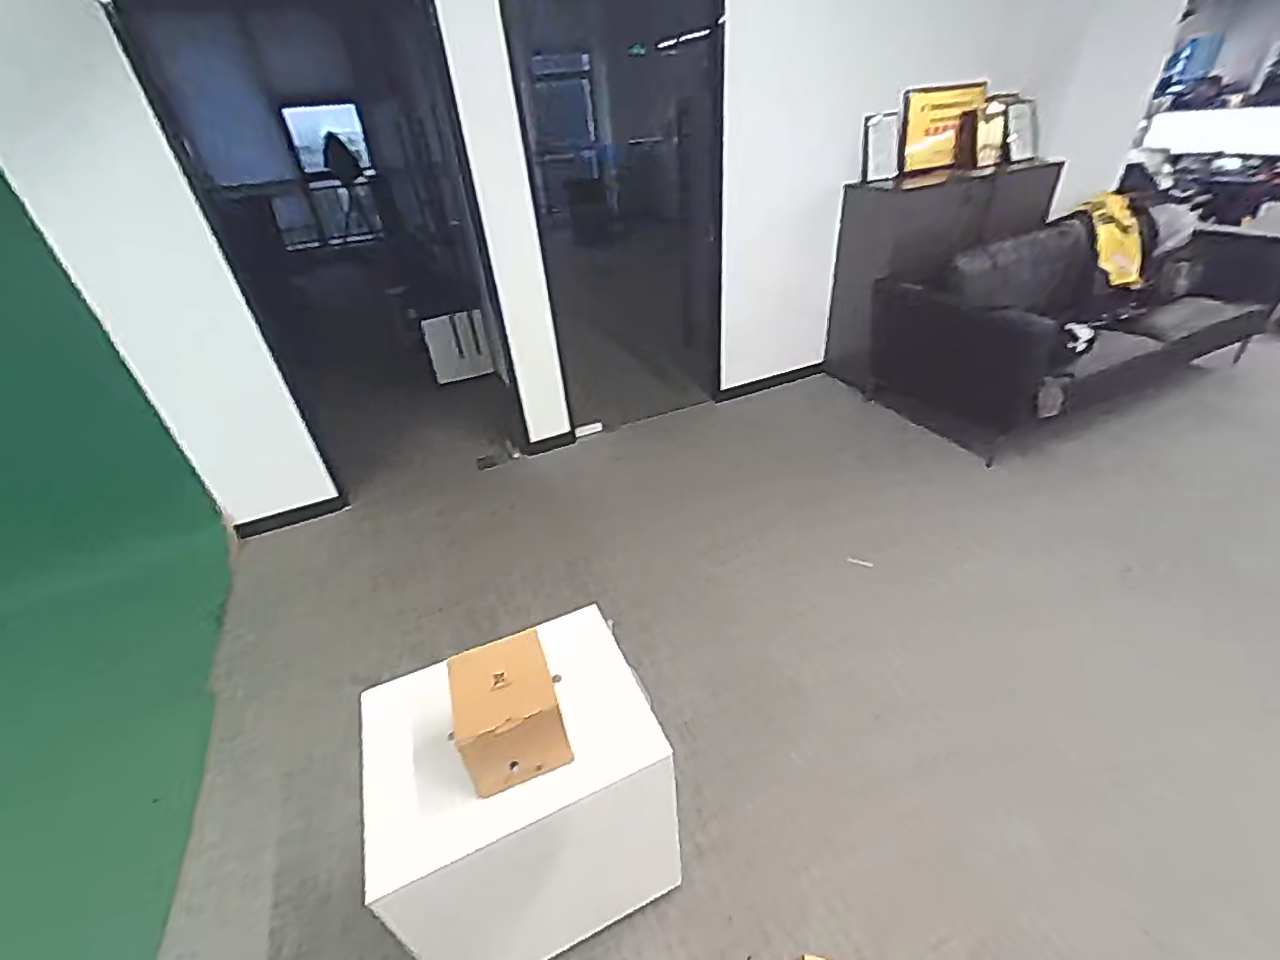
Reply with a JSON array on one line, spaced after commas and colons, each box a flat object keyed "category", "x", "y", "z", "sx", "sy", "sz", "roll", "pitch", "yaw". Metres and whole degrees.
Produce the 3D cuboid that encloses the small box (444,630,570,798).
[{"category": "small box", "x": -0.230, "y": 0.400, "z": 0.936, "sx": 0.168, "sy": 0.176, "sz": 0.179, "roll": -16, "pitch": 34, "yaw": -16}]
